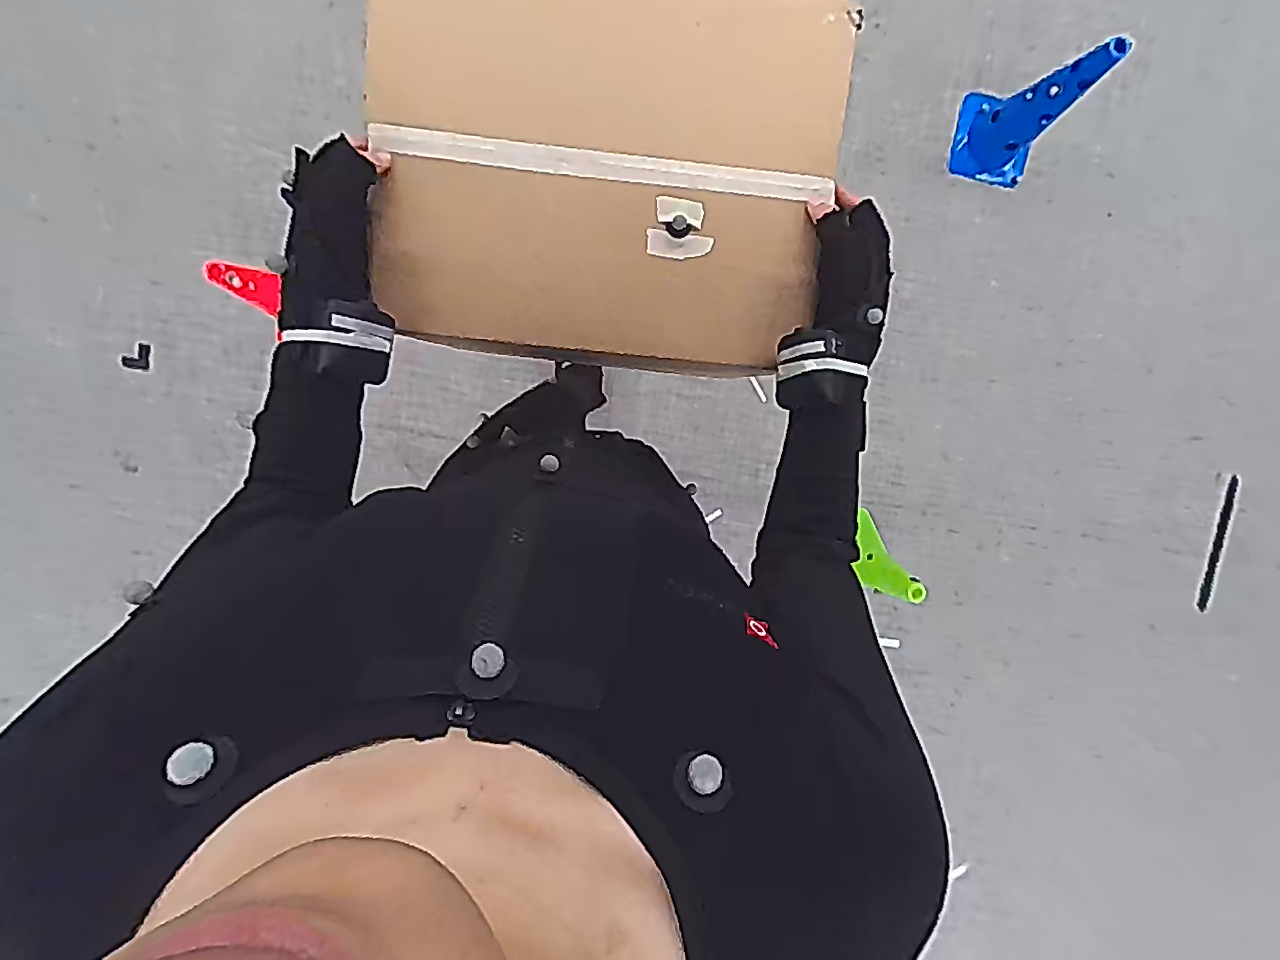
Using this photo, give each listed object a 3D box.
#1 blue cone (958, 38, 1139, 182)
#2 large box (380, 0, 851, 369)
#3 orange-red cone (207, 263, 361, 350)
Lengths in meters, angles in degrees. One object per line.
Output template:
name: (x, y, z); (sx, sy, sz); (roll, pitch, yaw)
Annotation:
blue cone: (0.925, -0.857, 1.224); (0.192, 0.380, 0.193); (12, 96, -4)
large box: (-0.036, -0.306, 0.625); (0.408, 0.320, 0.320); (5, 100, -4)
orange-red cone: (-0.809, -0.416, 1.203); (0.198, 0.360, 0.199); (7, 98, -2)
